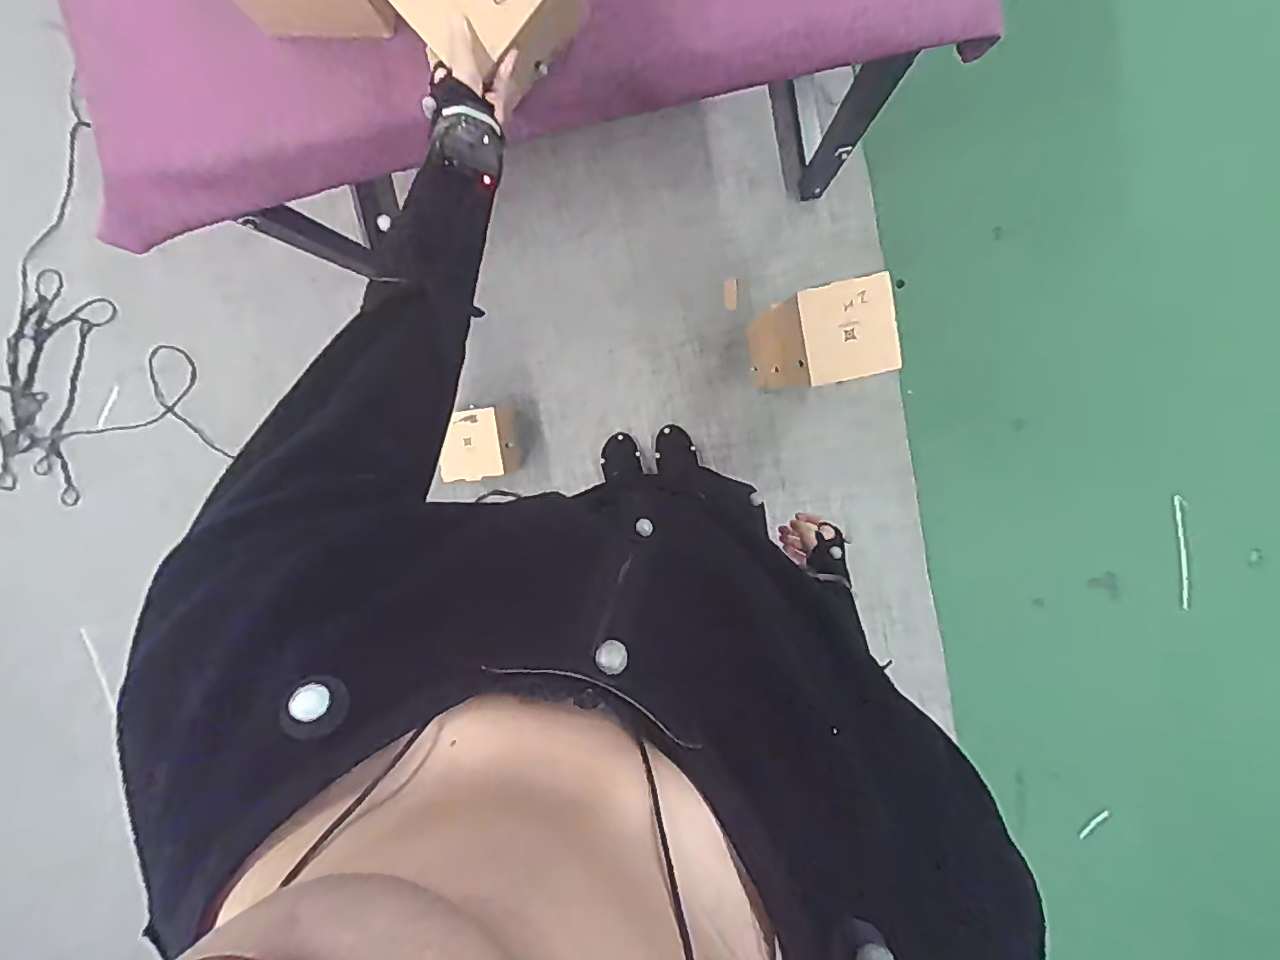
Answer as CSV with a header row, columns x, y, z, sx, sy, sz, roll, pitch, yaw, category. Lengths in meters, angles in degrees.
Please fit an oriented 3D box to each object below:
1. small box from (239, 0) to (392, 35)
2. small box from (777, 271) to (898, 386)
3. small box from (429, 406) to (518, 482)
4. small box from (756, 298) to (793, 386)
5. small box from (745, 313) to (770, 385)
x,y,z,sx,sy,sz,roll,pitch,yaw,category
-0.414,-0.662,0.628,0.179,0.176,0.168,2,98,2,small box
0.372,-0.283,1.043,0.168,0.176,0.179,-11,98,4,small box
-0.433,-0.100,1.437,0.168,0.176,0.179,-7,98,4,small box
0.364,-0.313,1.205,0.168,0.176,0.179,-12,98,4,small box
0.366,-0.336,1.365,0.179,0.176,0.168,-9,97,4,small box
